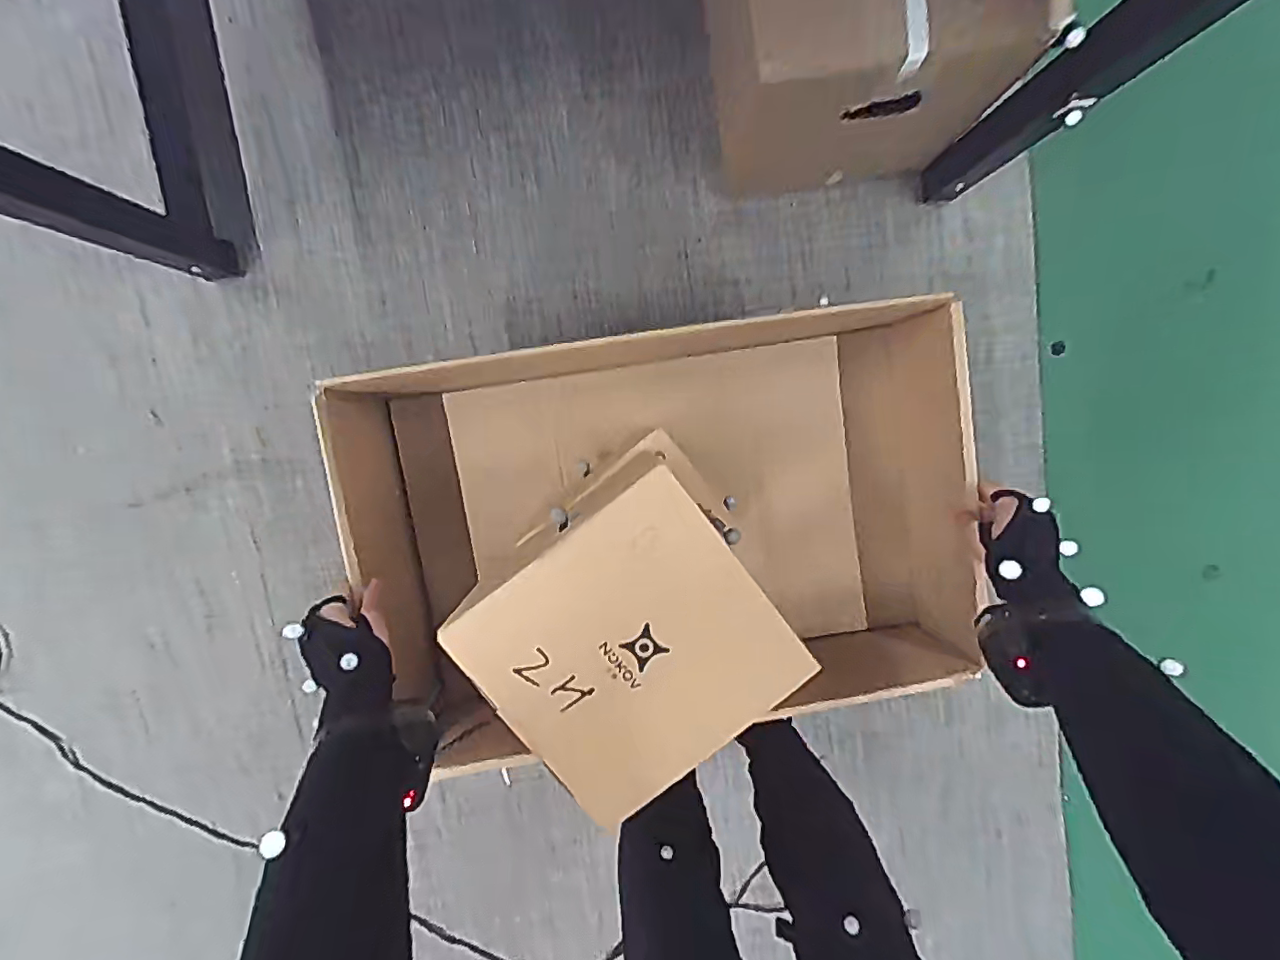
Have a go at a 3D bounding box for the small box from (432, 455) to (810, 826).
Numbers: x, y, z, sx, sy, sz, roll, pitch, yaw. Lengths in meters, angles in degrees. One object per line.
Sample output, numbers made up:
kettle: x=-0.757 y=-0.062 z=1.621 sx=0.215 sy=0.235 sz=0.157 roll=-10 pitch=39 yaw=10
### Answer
small box: x=-0.013 y=0.094 z=0.405 sx=0.179 sy=0.176 sz=0.168 roll=-37 pitch=96 yaw=2

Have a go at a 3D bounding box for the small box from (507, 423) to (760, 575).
small box: x=-0.007 y=0.057 z=0.568 sx=0.179 sy=0.176 sz=0.168 roll=-38 pitch=97 yaw=2
